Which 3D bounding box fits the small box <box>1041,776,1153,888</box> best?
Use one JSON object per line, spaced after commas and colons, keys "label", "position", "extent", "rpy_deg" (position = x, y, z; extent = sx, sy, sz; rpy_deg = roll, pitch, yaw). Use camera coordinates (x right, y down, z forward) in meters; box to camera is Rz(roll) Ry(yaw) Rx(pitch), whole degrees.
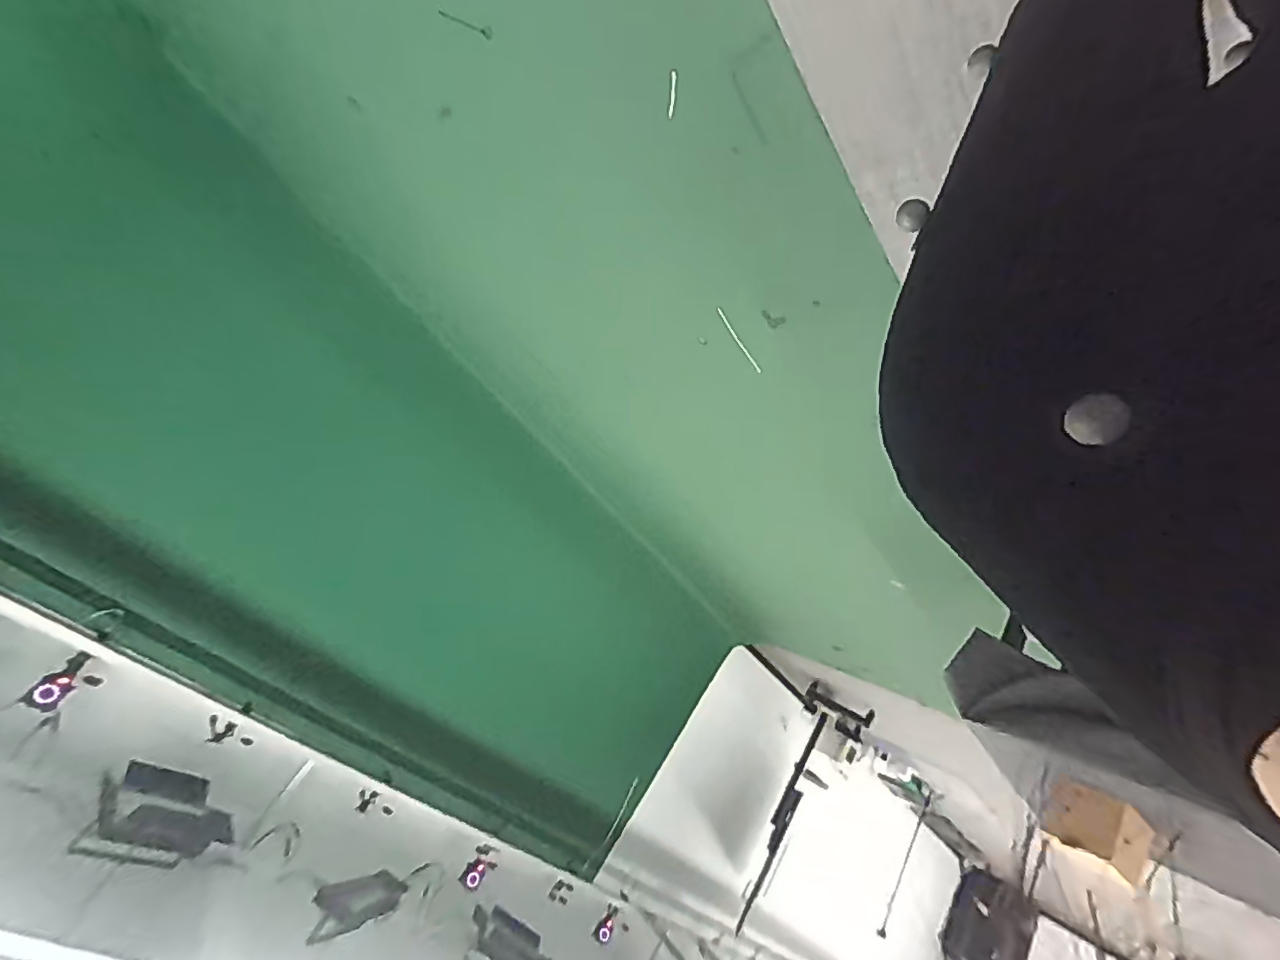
{"label": "small box", "position": [1.248, 0.949, 1.476], "extent": [0.179, 0.176, 0.168], "rpy_deg": [42, 161, -17]}
